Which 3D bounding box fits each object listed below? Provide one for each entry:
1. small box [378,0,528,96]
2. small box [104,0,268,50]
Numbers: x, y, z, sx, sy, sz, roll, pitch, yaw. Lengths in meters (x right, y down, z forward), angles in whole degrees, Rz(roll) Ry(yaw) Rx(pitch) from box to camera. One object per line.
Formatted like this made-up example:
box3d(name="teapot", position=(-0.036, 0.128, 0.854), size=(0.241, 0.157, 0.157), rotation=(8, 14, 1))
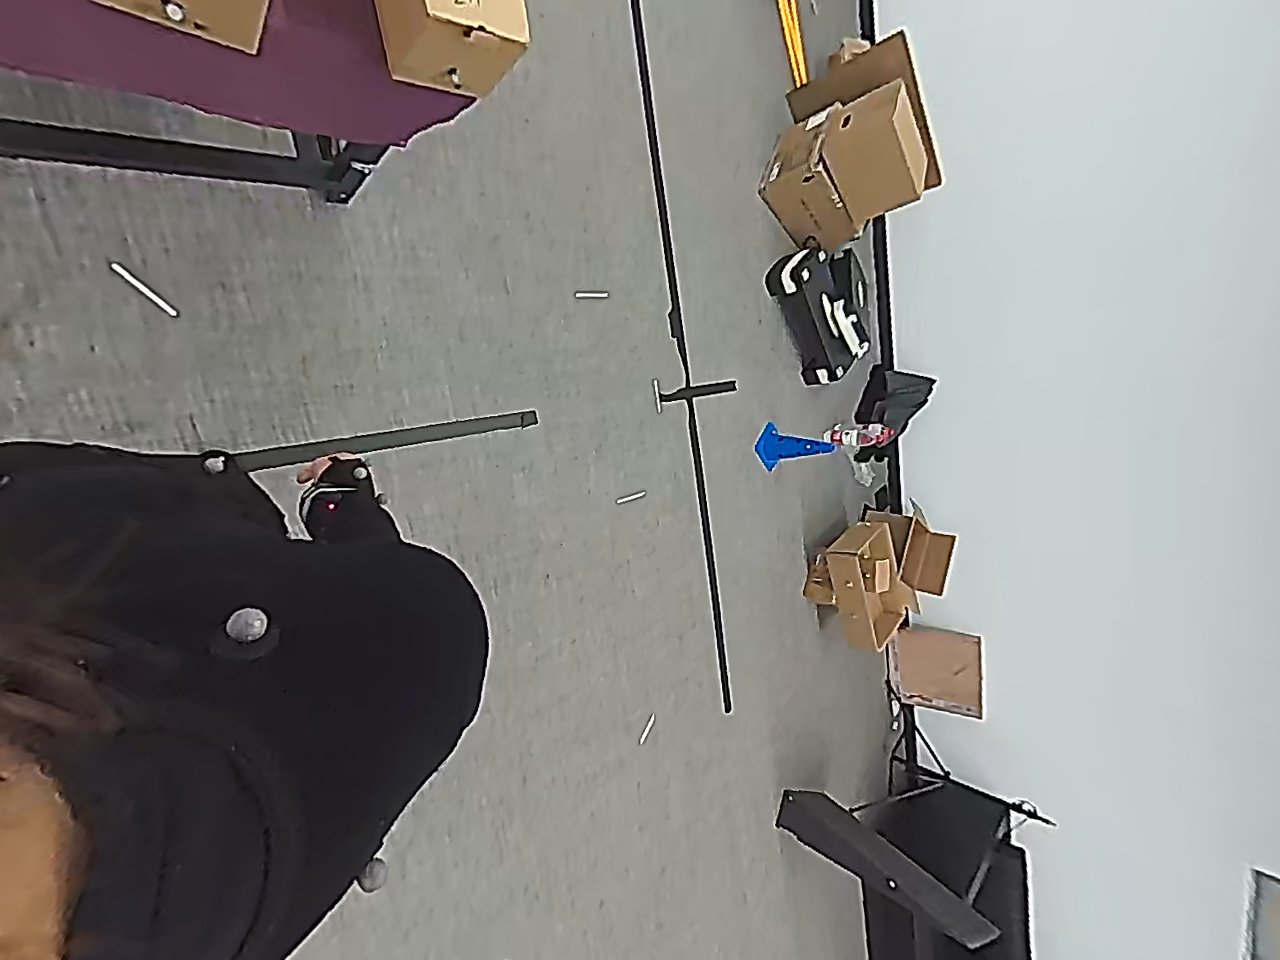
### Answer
box3d(name="small box", position=(-0.298, -0.741, 0.832), size=(0.168, 0.176, 0.179), rotation=(-17, 104, -38))
box3d(name="small box", position=(-0.543, -0.659, 0.622), size=(0.168, 0.176, 0.179), rotation=(-9, 100, -41))
